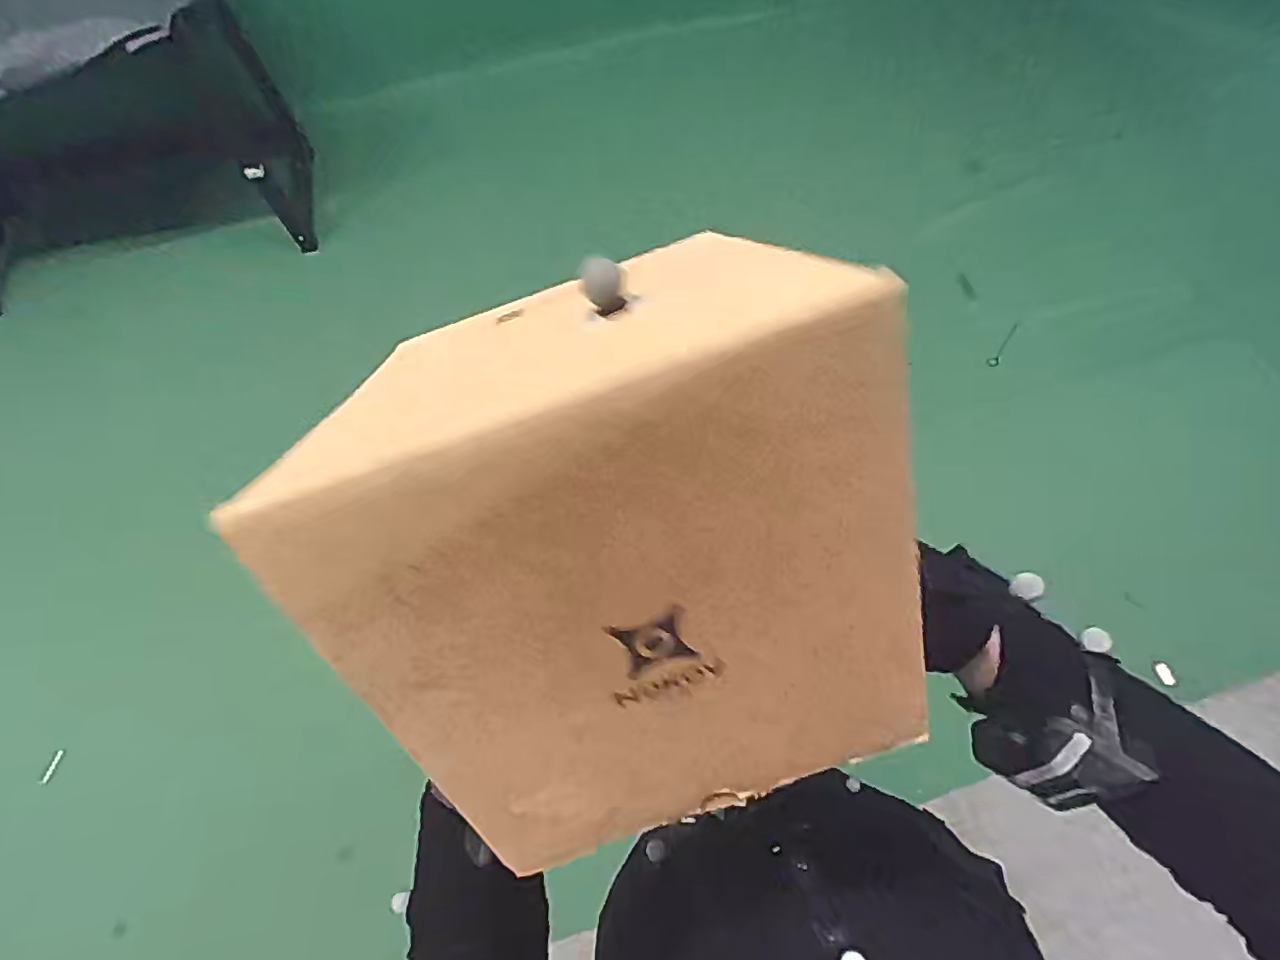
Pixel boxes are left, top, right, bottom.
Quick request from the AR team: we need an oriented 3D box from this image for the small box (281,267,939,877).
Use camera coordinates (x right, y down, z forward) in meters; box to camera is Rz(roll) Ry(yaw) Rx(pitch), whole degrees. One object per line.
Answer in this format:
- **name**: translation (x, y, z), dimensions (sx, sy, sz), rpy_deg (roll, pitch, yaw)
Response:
- **small box**: translation (0.000, 0.019, 0.236), dimensions (0.168, 0.179, 0.176), rpy_deg (-18, 31, -1)
